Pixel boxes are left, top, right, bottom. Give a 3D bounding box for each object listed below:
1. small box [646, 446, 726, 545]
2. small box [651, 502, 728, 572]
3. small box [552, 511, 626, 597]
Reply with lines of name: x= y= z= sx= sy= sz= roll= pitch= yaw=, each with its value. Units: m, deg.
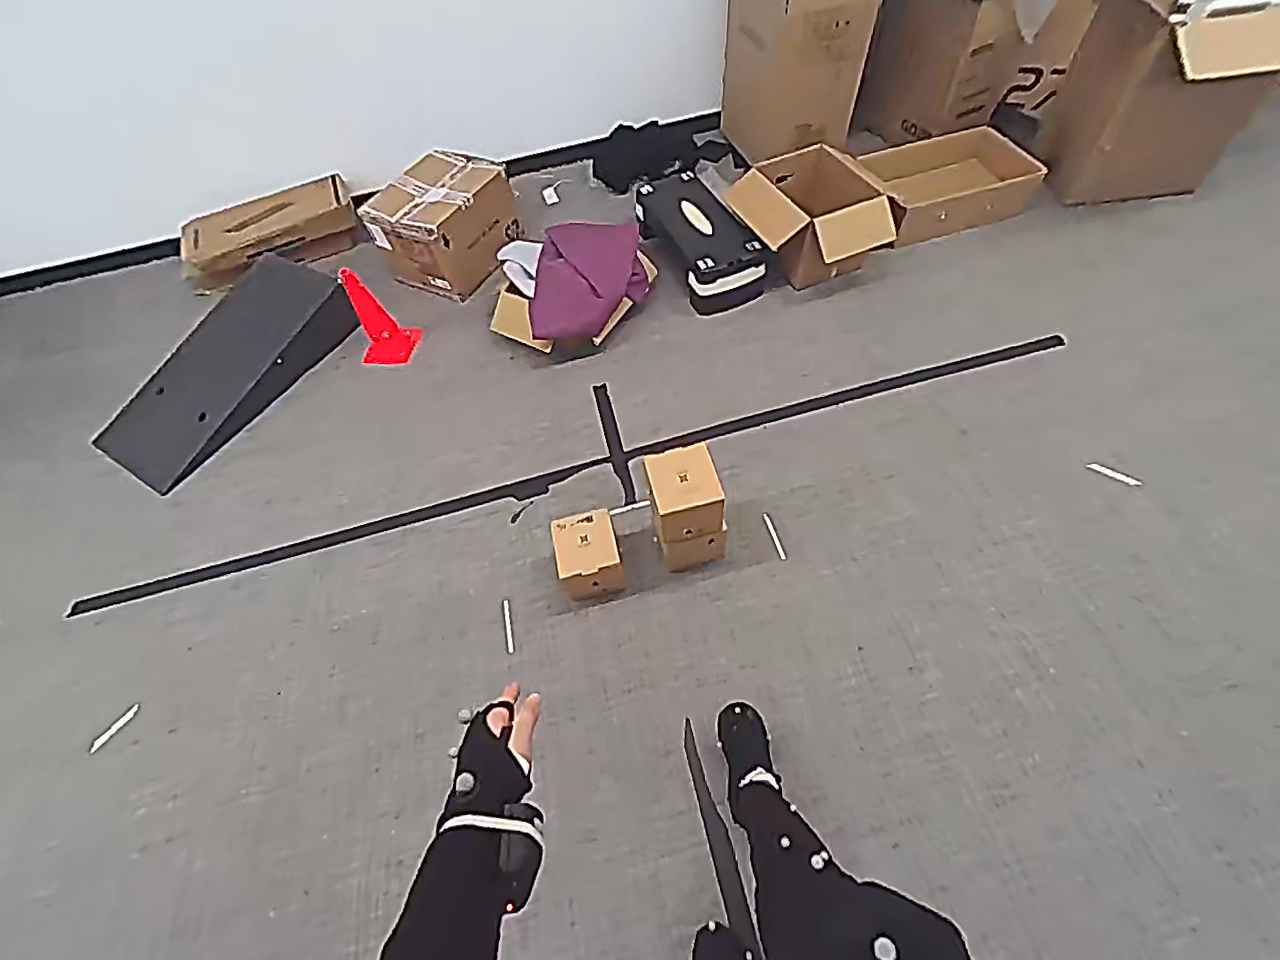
small box: x=0.116 y=0.043 z=1.405 sx=0.168 sy=0.176 sz=0.179 roll=-14 pitch=59 yaw=-2
small box: x=0.137 y=0.139 z=1.535 sx=0.179 sy=0.176 sz=0.168 roll=-16 pitch=57 yaw=-4
small box: x=-0.141 y=0.214 z=1.516 sx=0.168 sy=0.176 sz=0.179 roll=-13 pitch=58 yaw=-2
